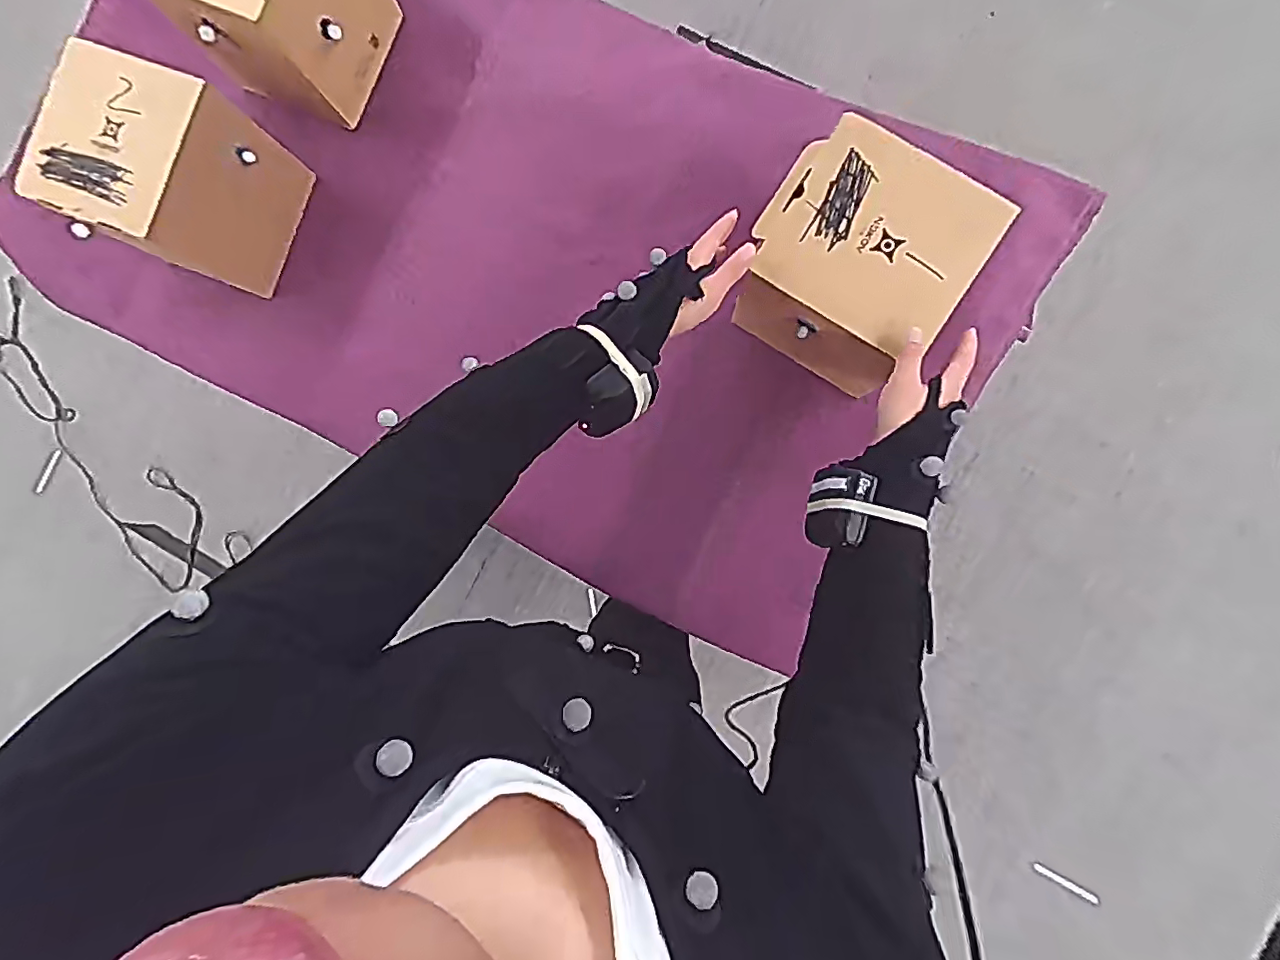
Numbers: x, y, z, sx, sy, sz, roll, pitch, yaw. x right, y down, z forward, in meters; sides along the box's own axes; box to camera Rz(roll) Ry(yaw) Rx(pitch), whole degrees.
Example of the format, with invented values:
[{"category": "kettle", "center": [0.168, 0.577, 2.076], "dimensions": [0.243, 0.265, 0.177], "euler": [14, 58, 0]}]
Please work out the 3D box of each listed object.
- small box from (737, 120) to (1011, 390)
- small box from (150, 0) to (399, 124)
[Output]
[{"category": "small box", "center": [0.217, -0.210, 0.561], "dimensions": [0.179, 0.176, 0.168], "euler": [33, 93, 4]}, {"category": "small box", "center": [-0.419, -0.560, 0.629], "dimensions": [0.179, 0.176, 0.168], "euler": [24, 91, 5]}]
